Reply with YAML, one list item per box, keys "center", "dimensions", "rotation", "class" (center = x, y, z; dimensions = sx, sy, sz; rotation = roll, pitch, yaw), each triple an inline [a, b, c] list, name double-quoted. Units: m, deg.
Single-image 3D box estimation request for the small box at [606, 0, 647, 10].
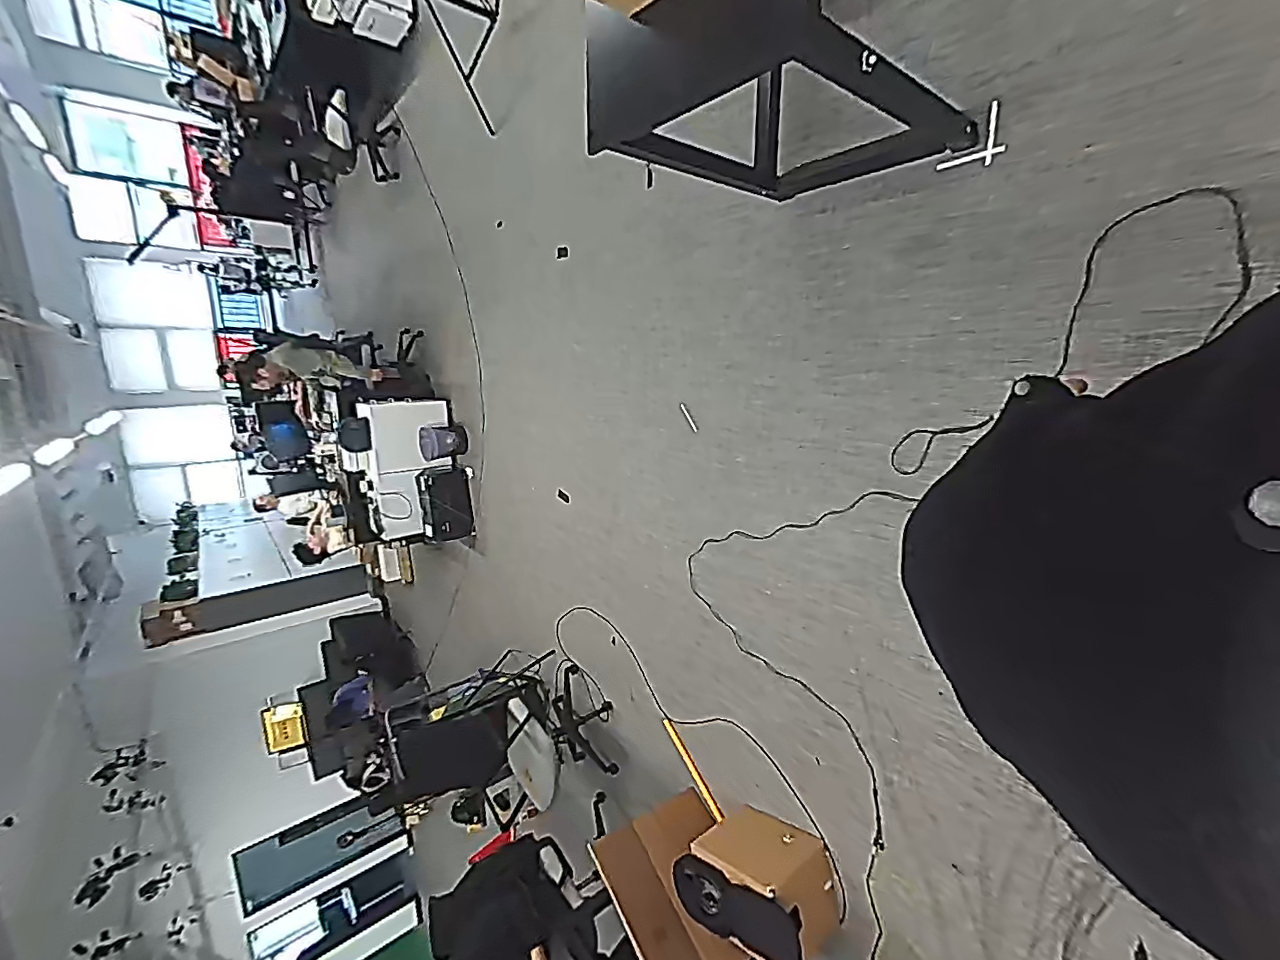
- center: [-0.026, -1.018, 0.990]
  dimensions: [0.179, 0.176, 0.168]
  rotation: [20, 113, 49]
  class: "small box"
